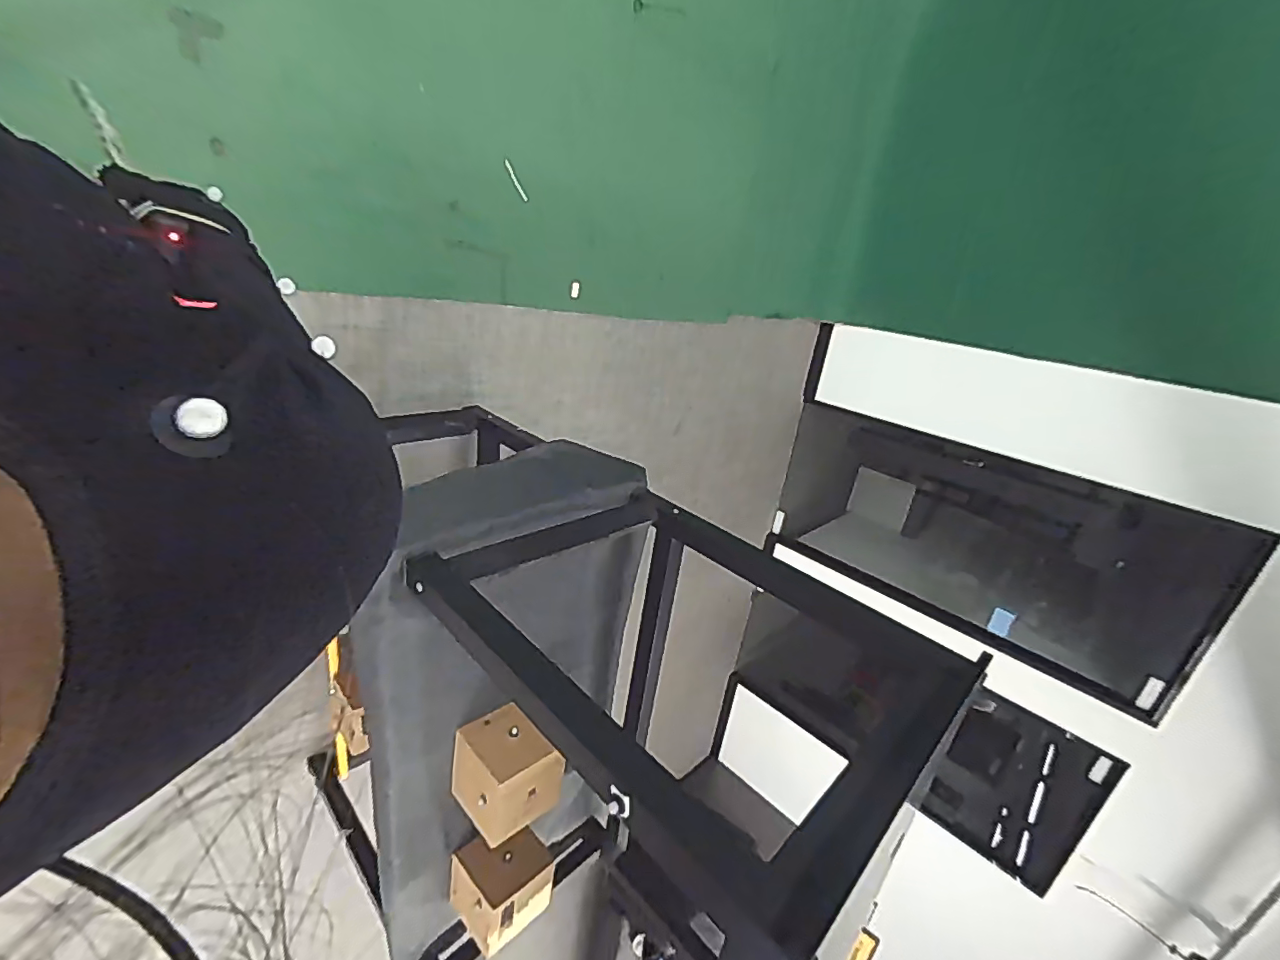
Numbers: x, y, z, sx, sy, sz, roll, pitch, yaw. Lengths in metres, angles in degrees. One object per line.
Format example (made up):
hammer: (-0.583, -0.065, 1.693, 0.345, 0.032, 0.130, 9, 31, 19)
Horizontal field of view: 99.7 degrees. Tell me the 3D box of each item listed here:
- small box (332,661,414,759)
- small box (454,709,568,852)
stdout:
small box: (-0.790, 0.669, 1.592, 0.179, 0.176, 0.168, -10, 118, -46)
small box: (-0.276, 0.615, 1.139, 0.168, 0.176, 0.179, -11, 118, -46)
